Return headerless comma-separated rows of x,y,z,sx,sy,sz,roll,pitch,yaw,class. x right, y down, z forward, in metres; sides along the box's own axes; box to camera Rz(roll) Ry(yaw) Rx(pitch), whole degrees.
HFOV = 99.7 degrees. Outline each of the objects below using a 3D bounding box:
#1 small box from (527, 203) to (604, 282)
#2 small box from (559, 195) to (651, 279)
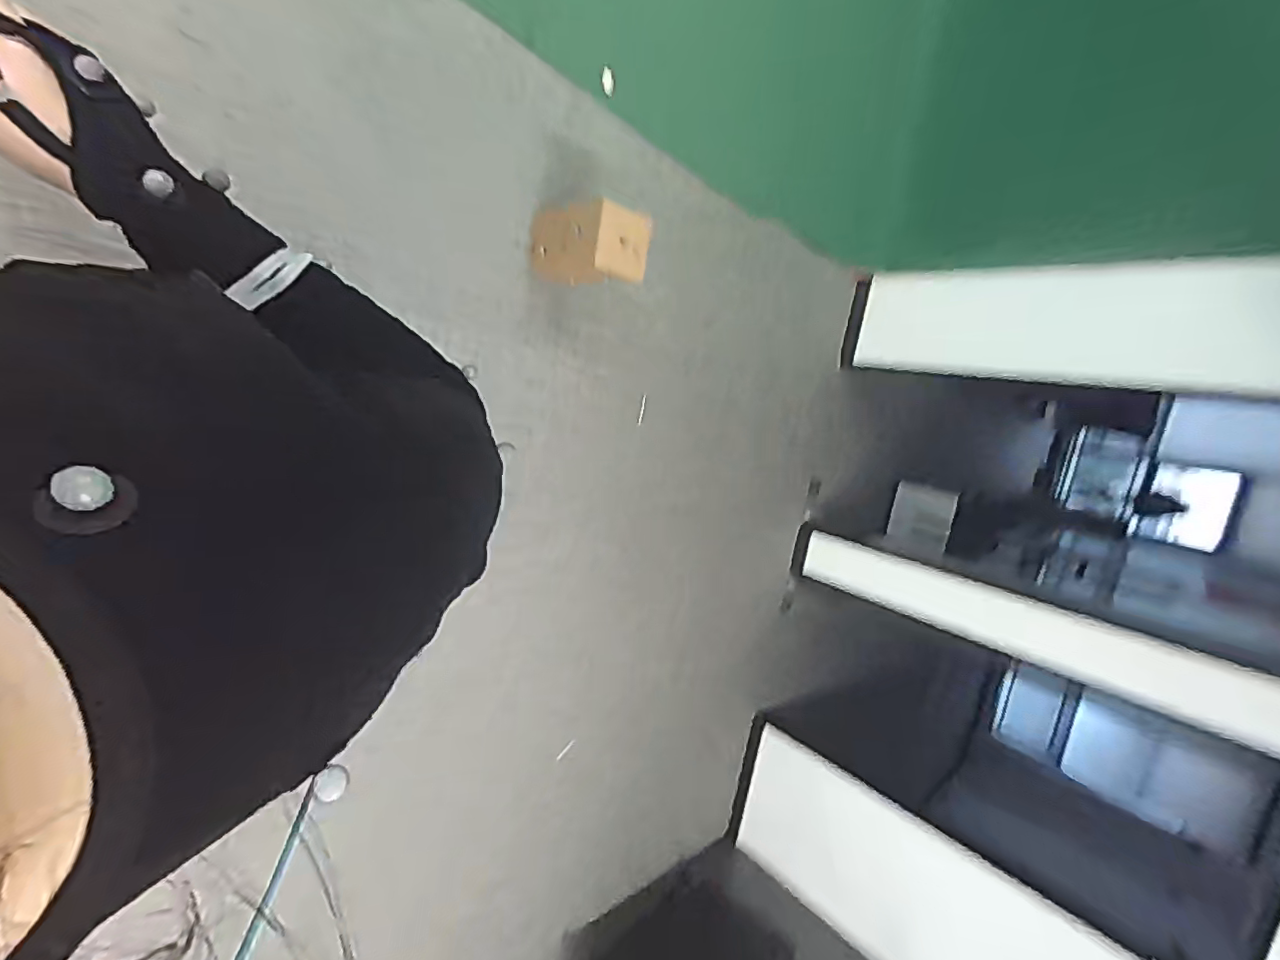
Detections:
-0.210,-0.689,1.593,0.179,0.176,0.168,2,103,-45,small box
-0.100,-0.652,1.475,0.179,0.176,0.168,0,104,-44,small box
